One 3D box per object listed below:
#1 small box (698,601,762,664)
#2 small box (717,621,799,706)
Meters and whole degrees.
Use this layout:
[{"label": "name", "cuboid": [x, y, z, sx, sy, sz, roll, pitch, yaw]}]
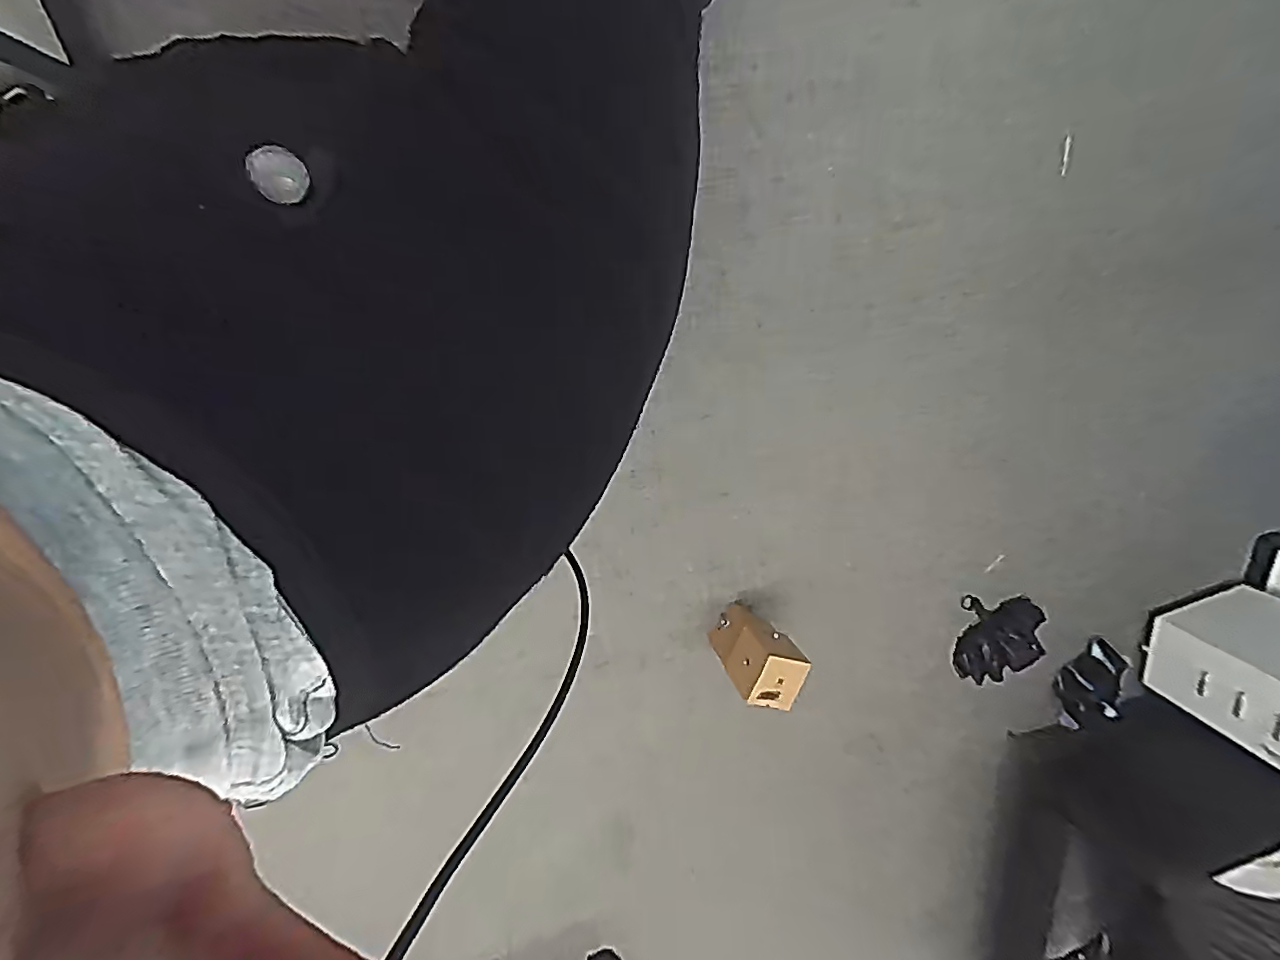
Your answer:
[{"label": "small box", "cuboid": [0.332, 0.550, 1.880, 0.179, 0.176, 0.168, 32, 98, -23]}, {"label": "small box", "cuboid": [0.366, 0.581, 1.720, 0.168, 0.176, 0.179, 18, 102, -22]}]
